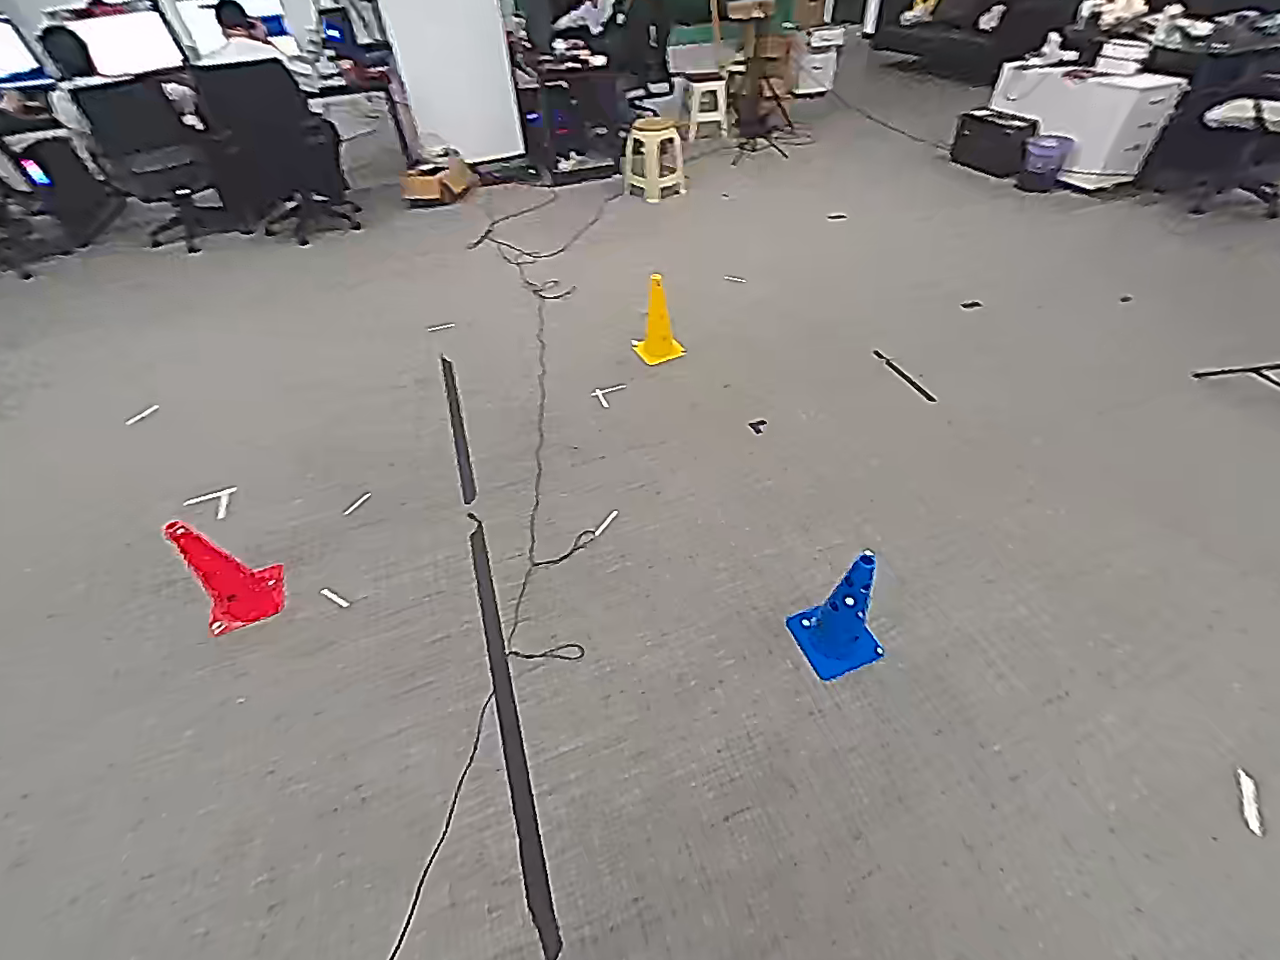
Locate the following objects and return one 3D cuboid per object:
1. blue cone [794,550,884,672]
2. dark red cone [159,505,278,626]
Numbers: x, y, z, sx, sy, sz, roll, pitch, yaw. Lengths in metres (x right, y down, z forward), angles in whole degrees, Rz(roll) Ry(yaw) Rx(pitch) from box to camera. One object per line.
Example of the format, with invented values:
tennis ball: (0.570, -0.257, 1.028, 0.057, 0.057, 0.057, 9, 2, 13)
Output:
blue cone: (0.532, 0.307, 1.362, 0.192, 0.380, 0.193, -15, 46, -12)
dark red cone: (-1.218, 0.219, 1.531, 0.201, 0.394, 0.202, -21, 47, -18)
